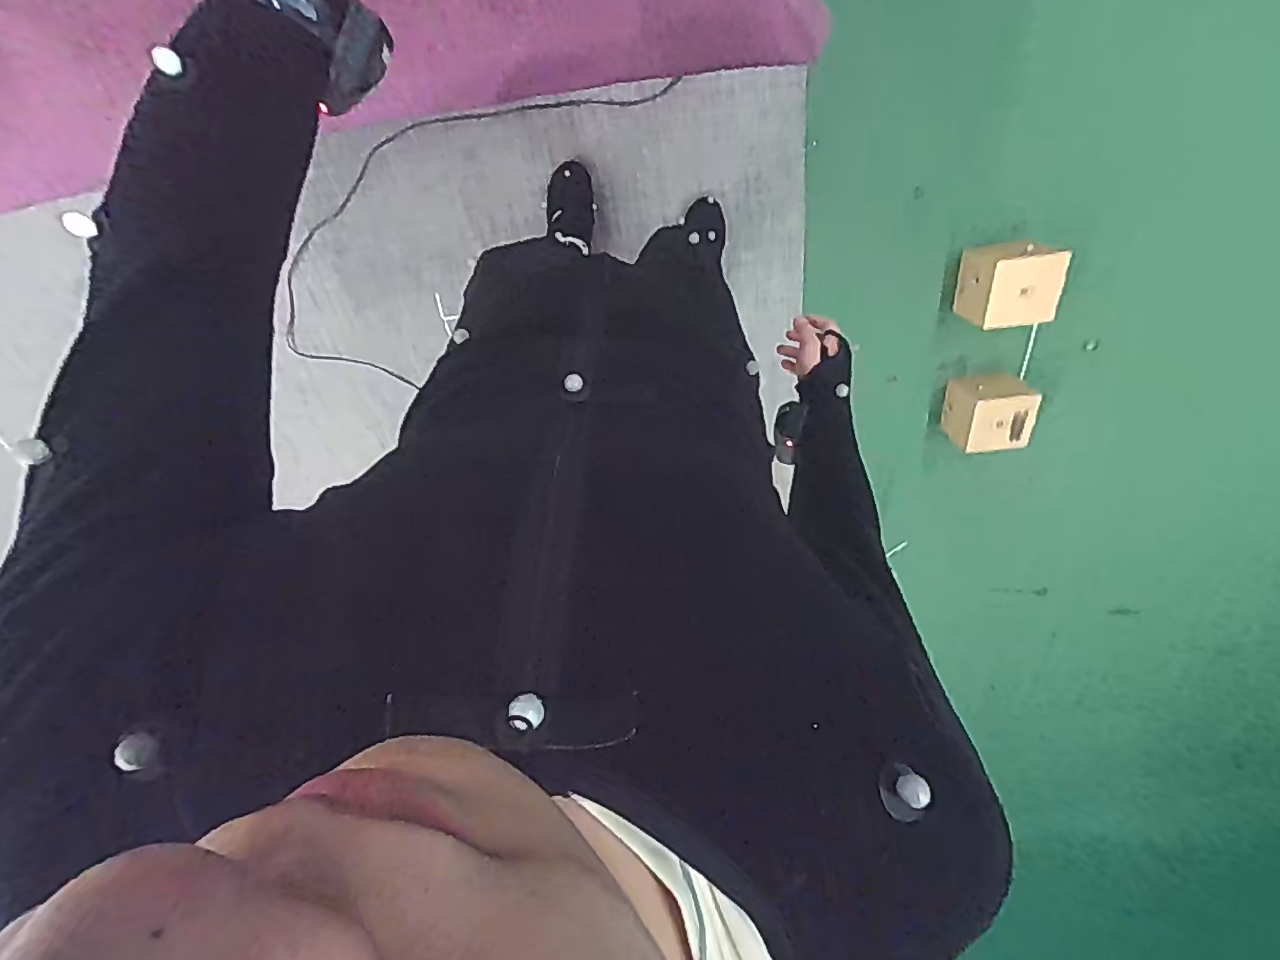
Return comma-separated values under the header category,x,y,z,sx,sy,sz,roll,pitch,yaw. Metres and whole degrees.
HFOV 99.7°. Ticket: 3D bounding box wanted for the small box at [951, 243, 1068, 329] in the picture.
category,x,y,z,sx,sy,sz,roll,pitch,yaw
small box,0.935,-0.502,1.391,0.179,0.176,0.168,-7,122,3
